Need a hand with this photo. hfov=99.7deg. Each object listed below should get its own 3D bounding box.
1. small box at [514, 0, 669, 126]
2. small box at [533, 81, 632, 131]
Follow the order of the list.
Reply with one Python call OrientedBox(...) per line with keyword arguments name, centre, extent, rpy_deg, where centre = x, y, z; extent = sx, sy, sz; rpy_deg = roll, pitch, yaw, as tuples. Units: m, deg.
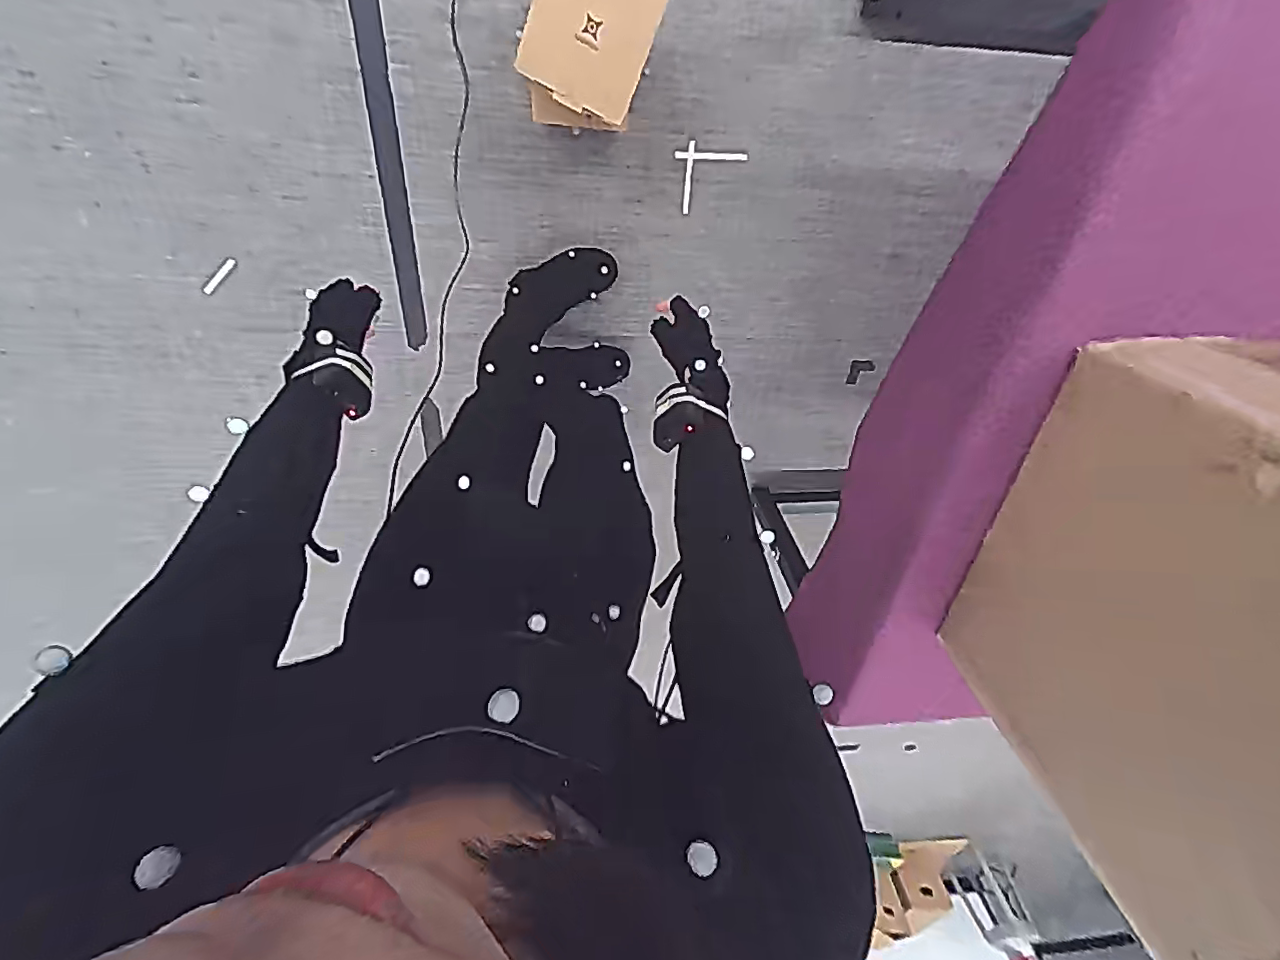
OrientedBox(name="small box", centre=(-0.073, -0.653, 0.790), extent=(0.168, 0.176, 0.179), rpy_deg=(17, 120, -19))
OrientedBox(name="small box", centre=(-0.099, -0.721, 0.938), extent=(0.168, 0.176, 0.179), rpy_deg=(1, 125, -8))
